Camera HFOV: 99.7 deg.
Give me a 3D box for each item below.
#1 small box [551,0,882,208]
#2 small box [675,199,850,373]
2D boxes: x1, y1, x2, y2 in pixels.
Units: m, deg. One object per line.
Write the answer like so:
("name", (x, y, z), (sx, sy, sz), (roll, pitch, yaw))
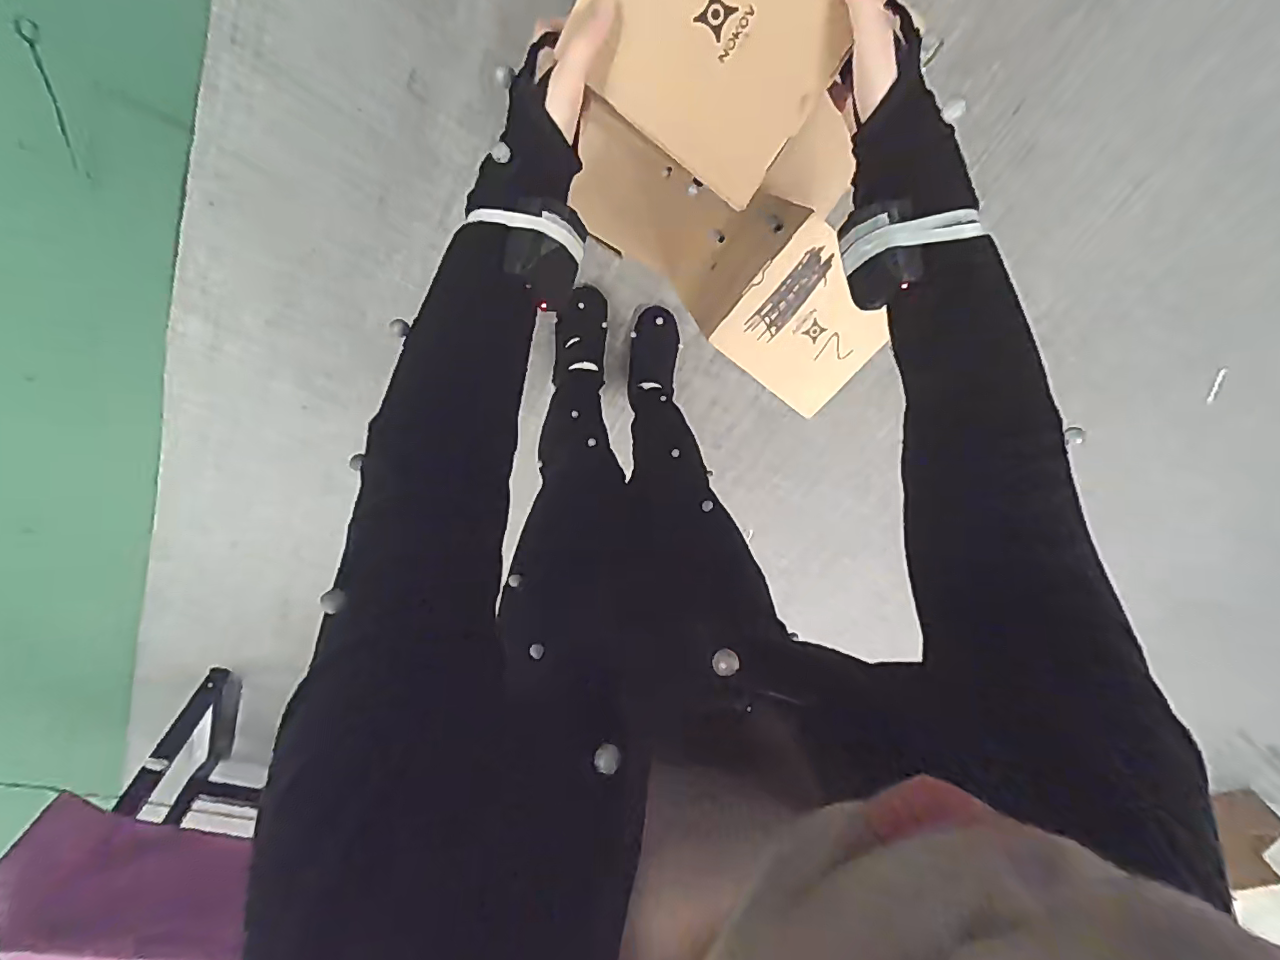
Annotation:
("small box", (0.048, -0.354, 0.445), (0.179, 0.176, 0.168), (29, 116, -18))
("small box", (0.168, -0.298, 0.812), (0.168, 0.176, 0.179), (27, 115, -20))
